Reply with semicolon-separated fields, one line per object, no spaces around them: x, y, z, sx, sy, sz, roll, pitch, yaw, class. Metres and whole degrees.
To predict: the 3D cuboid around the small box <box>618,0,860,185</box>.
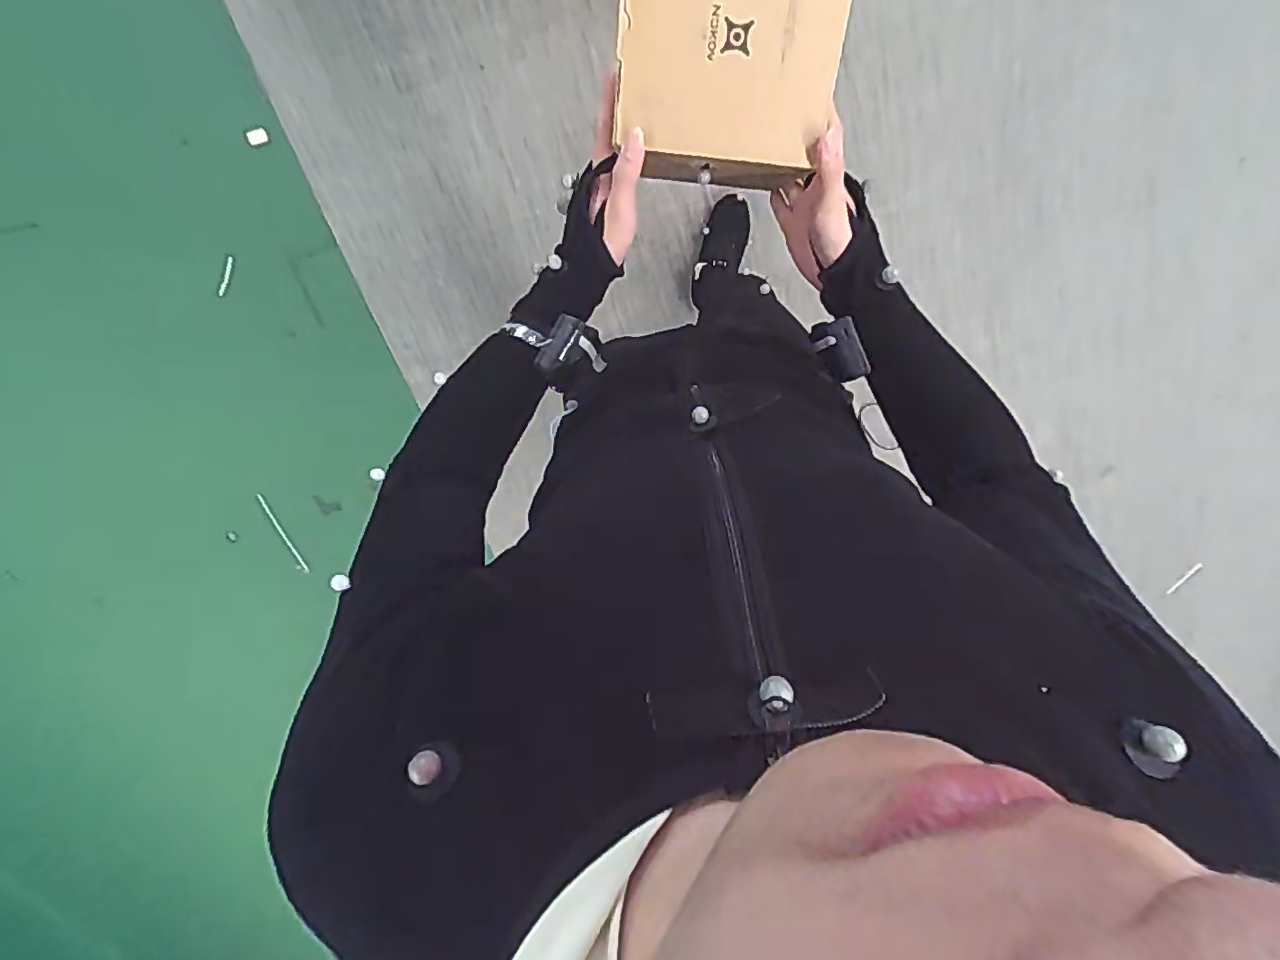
0.076;-0.373;0.484;0.179;0.176;0.168;5;112;-3;small box
